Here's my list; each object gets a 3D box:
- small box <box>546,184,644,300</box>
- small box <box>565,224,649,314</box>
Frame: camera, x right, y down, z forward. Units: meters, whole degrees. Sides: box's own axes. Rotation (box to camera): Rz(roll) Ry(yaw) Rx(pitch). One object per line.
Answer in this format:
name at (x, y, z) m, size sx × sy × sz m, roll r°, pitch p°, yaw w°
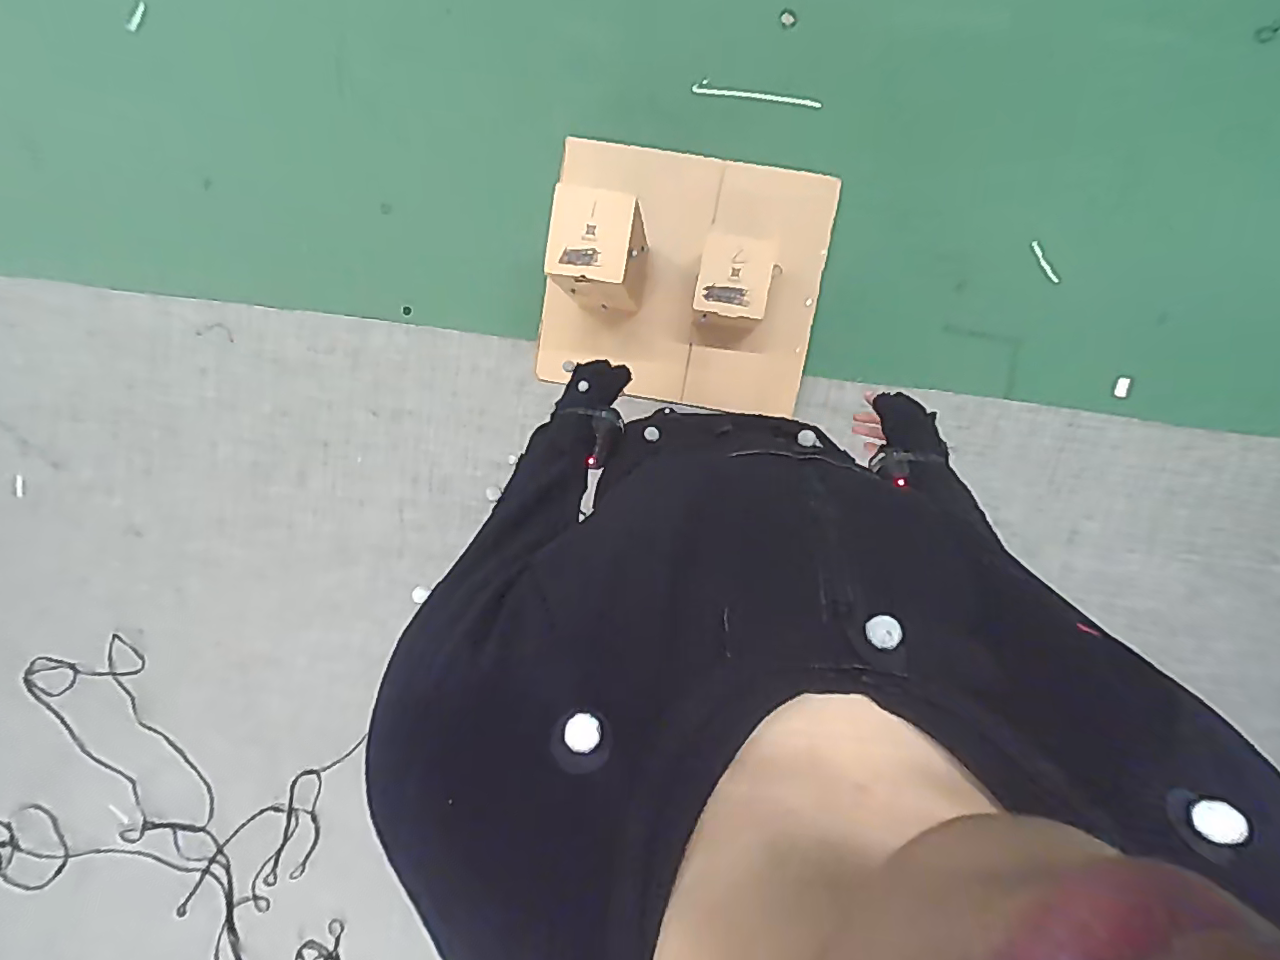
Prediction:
small box at (-0.089, -0.494, 1.151) m, size 0.168 × 0.176 × 0.179 m, roll 11°, pitch 98°, yaw 3°
small box at (-0.074, -0.515, 1.312) m, size 0.168 × 0.176 × 0.179 m, roll 9°, pitch 99°, yaw 4°
